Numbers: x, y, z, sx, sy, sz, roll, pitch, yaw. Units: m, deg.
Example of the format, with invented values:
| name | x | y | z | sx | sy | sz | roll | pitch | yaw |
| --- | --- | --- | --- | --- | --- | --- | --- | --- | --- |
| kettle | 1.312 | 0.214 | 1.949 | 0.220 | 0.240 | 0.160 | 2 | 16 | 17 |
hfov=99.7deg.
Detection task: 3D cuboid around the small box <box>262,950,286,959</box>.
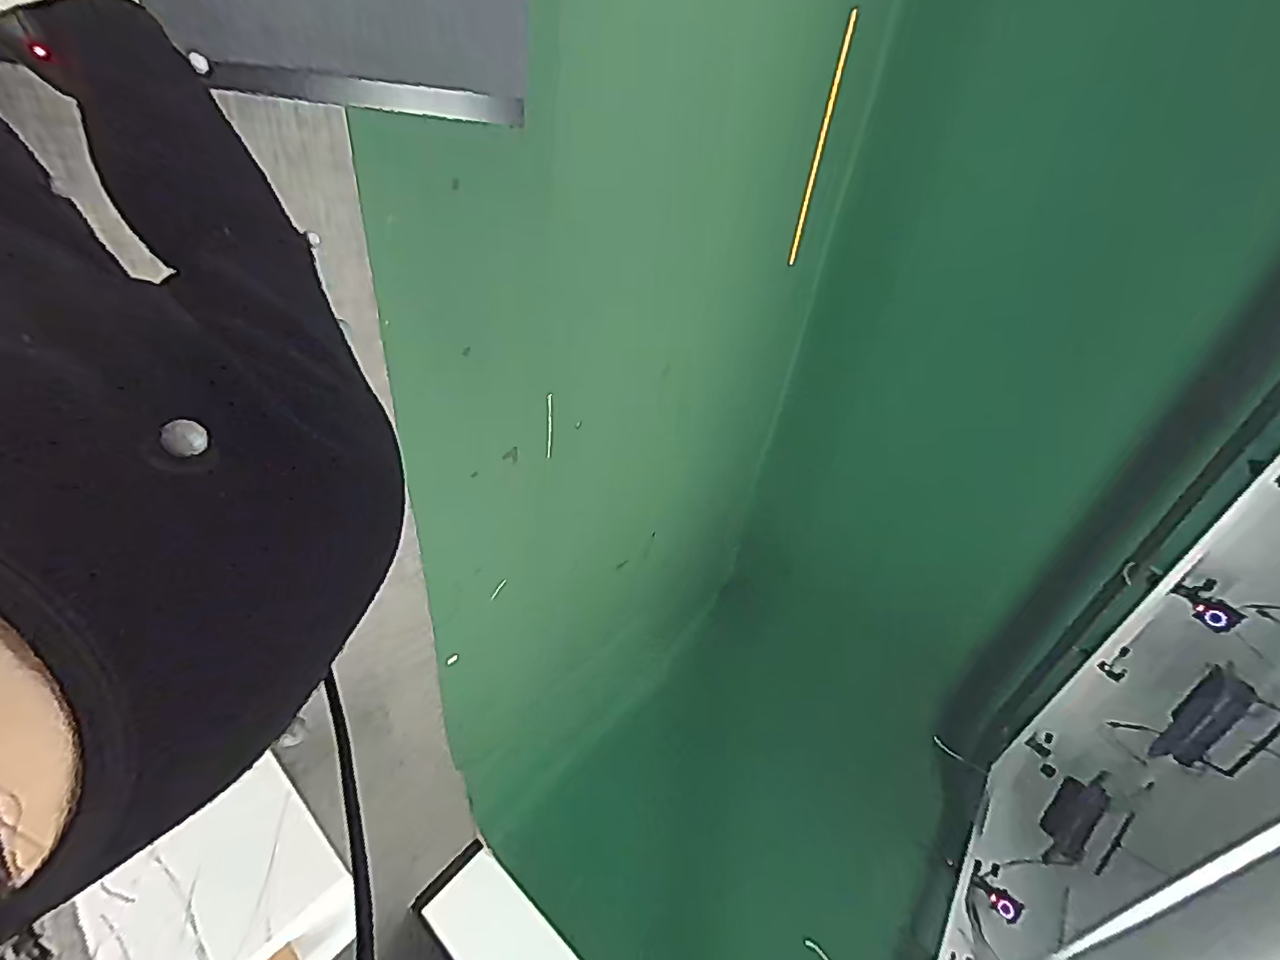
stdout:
| name | x | y | z | sx | sy | sz | roll | pitch | yaw |
| --- | --- | --- | --- | --- | --- | --- | --- | --- | --- |
| small box | -0.988 | 1.398 | 1.418 | 0.168 | 0.176 | 0.179 | -30 | 140 | -44 |
